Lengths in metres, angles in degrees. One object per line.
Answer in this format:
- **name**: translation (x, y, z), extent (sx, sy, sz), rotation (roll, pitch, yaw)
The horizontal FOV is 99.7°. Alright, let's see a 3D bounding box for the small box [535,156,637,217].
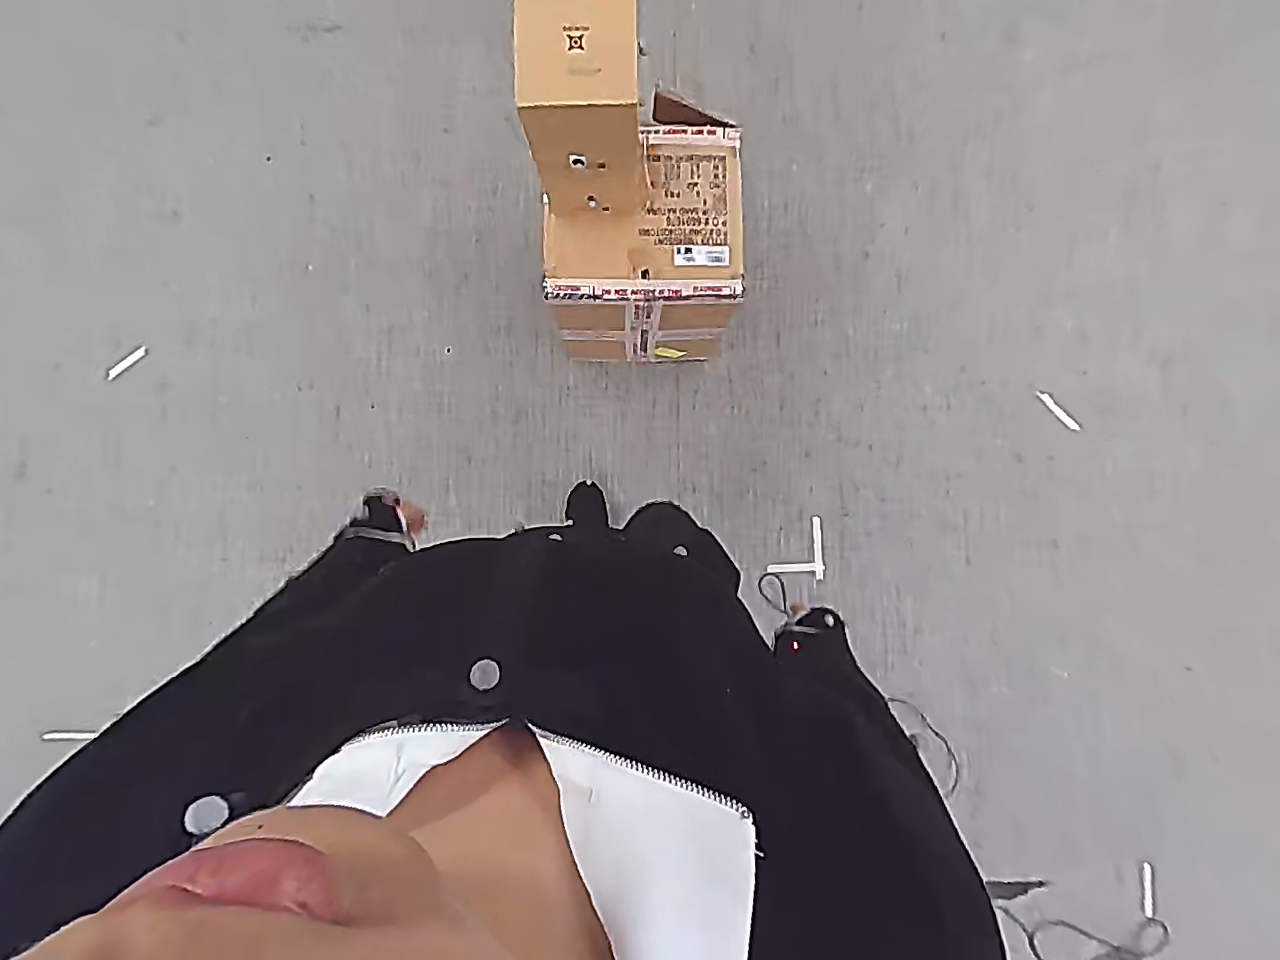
- **small box**: translation (-0.089, -0.595, 0.958), extent (0.168, 0.176, 0.179), rotation (-1, 90, 1)

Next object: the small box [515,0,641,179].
- **small box**: translation (-0.083, -0.576, 0.795), extent (0.168, 0.176, 0.179), rotation (-1, 90, 1)
